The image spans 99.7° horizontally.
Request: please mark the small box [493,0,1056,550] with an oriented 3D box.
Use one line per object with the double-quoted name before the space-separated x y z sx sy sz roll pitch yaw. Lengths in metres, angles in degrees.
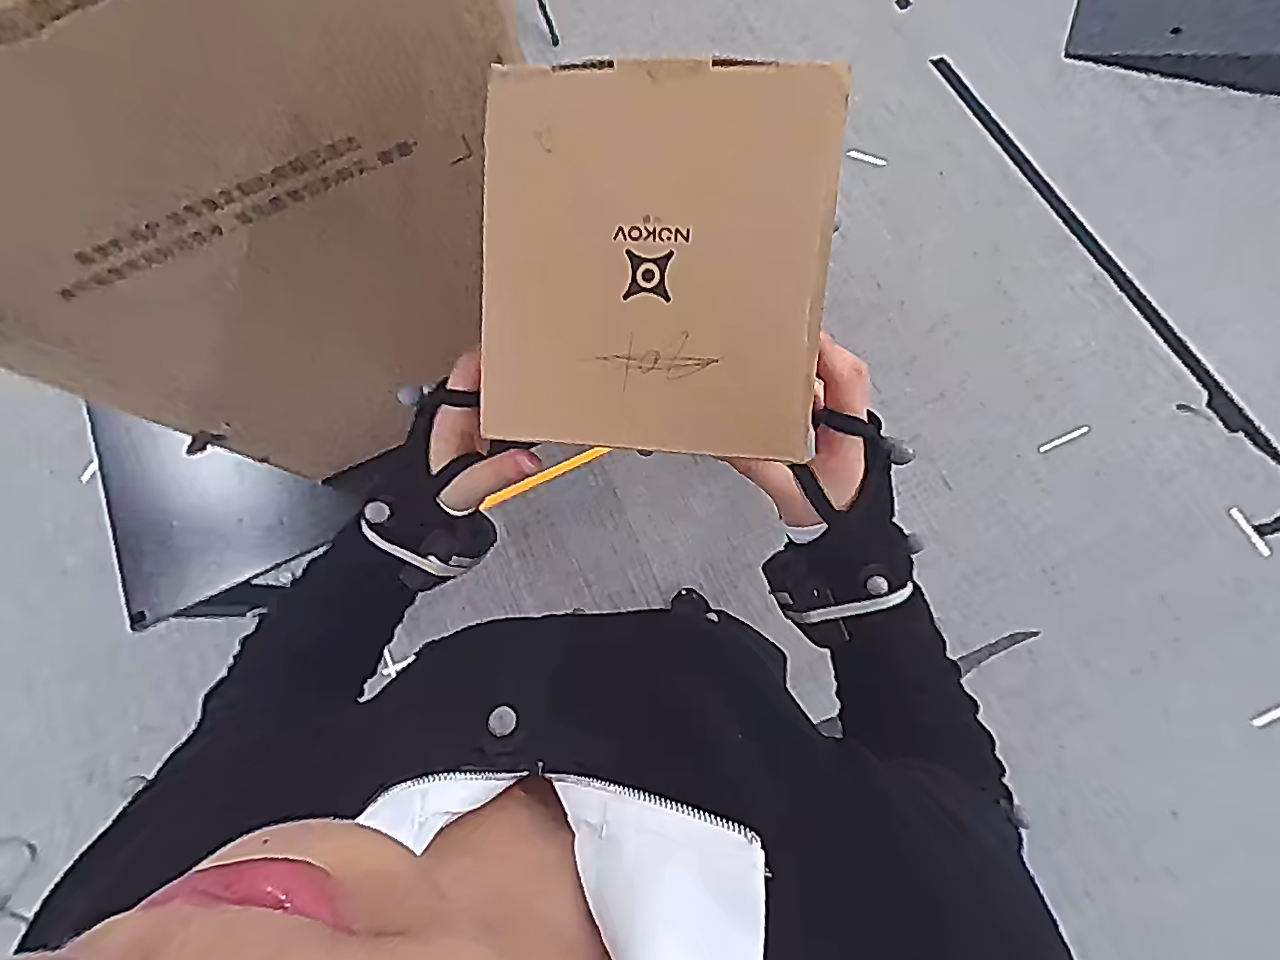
"small box" 0.044 -0.082 0.255 0.168 0.176 0.179 6 100 8
